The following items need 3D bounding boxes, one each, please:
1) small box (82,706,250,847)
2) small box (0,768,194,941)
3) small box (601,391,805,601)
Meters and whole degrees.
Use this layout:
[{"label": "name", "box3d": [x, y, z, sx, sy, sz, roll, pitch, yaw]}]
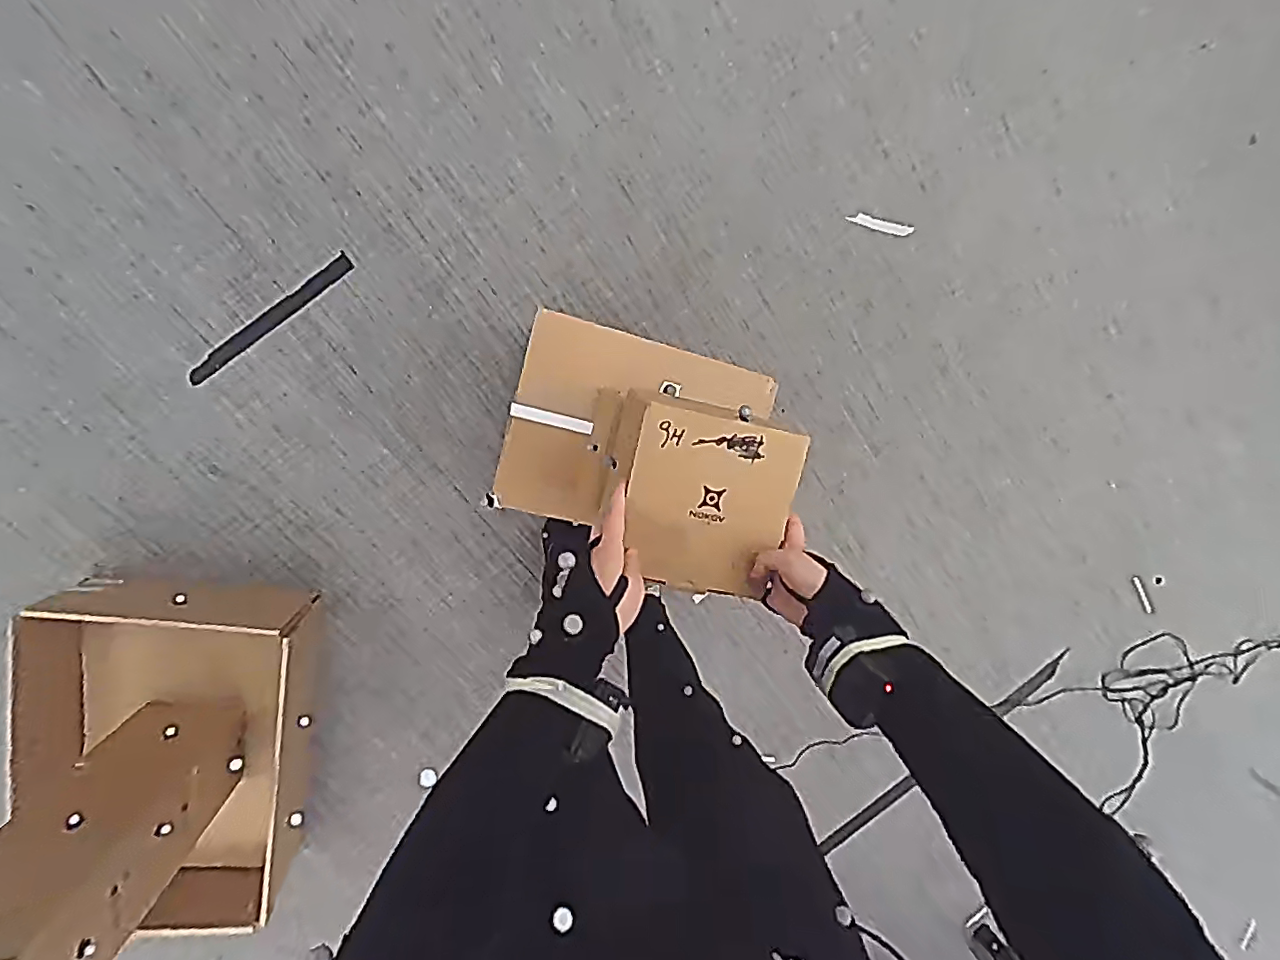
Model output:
[{"label": "small box", "box3d": [-0.861, 0.536, 0.993, 0.179, 0.176, 0.168, 8, 99, -14]}, {"label": "small box", "box3d": [-0.833, 0.573, 0.838, 0.179, 0.176, 0.168, 4, 99, -11]}, {"label": "small box", "box3d": [0.054, 0.009, 0.603, 0.168, 0.176, 0.179, 11, 103, -10]}]
